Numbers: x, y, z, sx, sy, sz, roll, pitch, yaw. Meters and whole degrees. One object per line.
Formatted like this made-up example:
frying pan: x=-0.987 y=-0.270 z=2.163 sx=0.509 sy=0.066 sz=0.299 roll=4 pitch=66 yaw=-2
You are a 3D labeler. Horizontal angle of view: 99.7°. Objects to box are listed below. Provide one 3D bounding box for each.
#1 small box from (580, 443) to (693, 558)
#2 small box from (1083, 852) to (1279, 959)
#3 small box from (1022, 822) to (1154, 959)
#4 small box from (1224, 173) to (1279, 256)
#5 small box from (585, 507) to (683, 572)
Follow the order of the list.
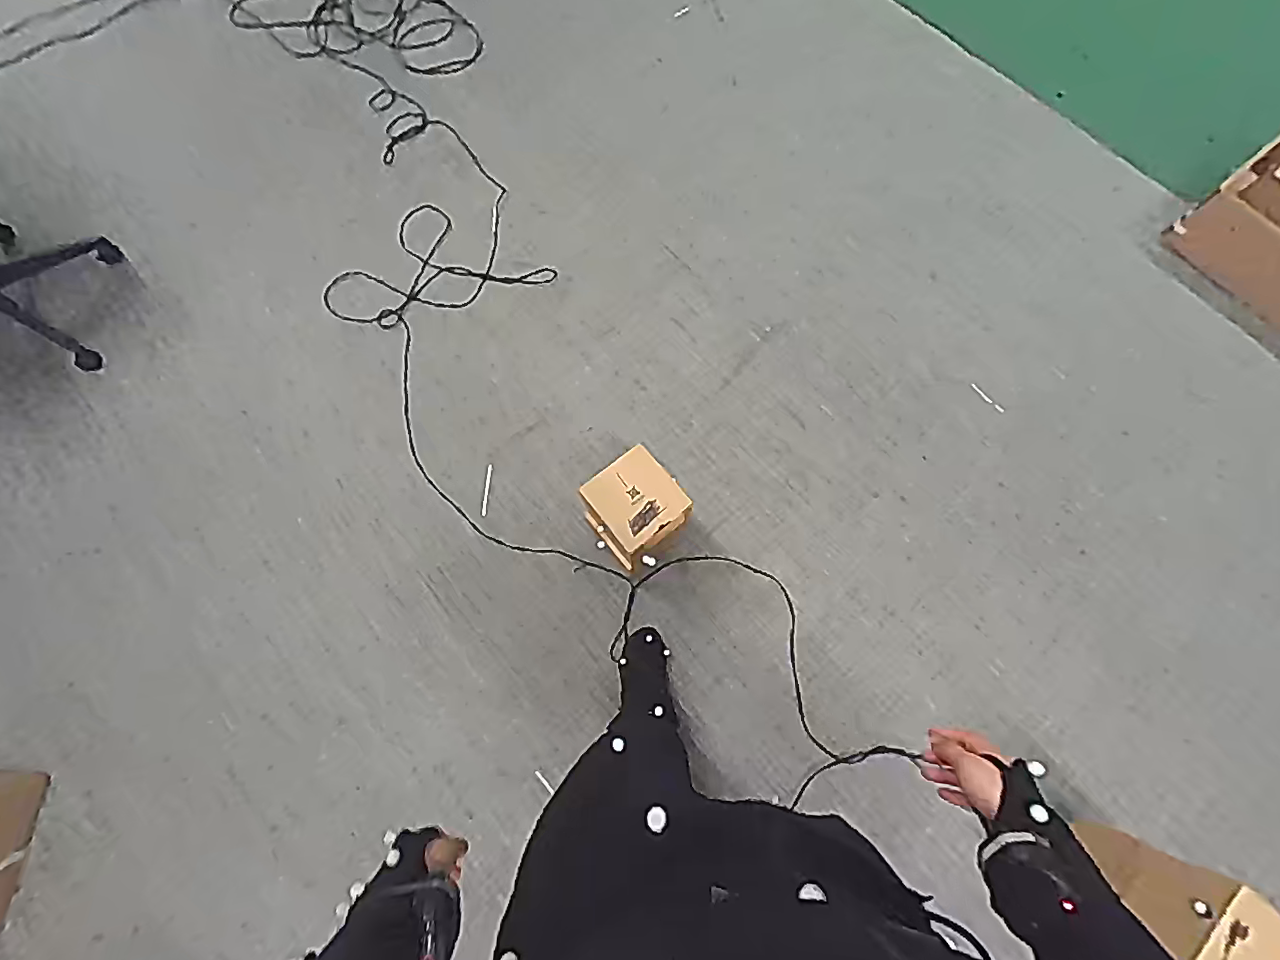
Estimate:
small box: x=-0.005 y=0.054 z=1.172 sx=0.168 sy=0.176 sz=0.179 roll=-37 pitch=75 yaw=-10
small box: x=0.835 y=0.710 z=0.805 sx=0.168 sy=0.176 sz=0.179 roll=-41 pitch=78 yaw=-11
small box: x=0.846 y=0.757 z=0.962 sx=0.168 sy=0.176 sz=0.179 roll=-41 pitch=76 yaw=-12
small box: x=1.825 y=-0.773 z=1.514 sx=0.179 sy=0.176 sz=0.168 roll=-40 pitch=77 yaw=-10
small box: x=-0.012 y=0.110 z=1.327 sx=0.168 sy=0.176 sz=0.179 roll=-38 pitch=76 yaw=-10
